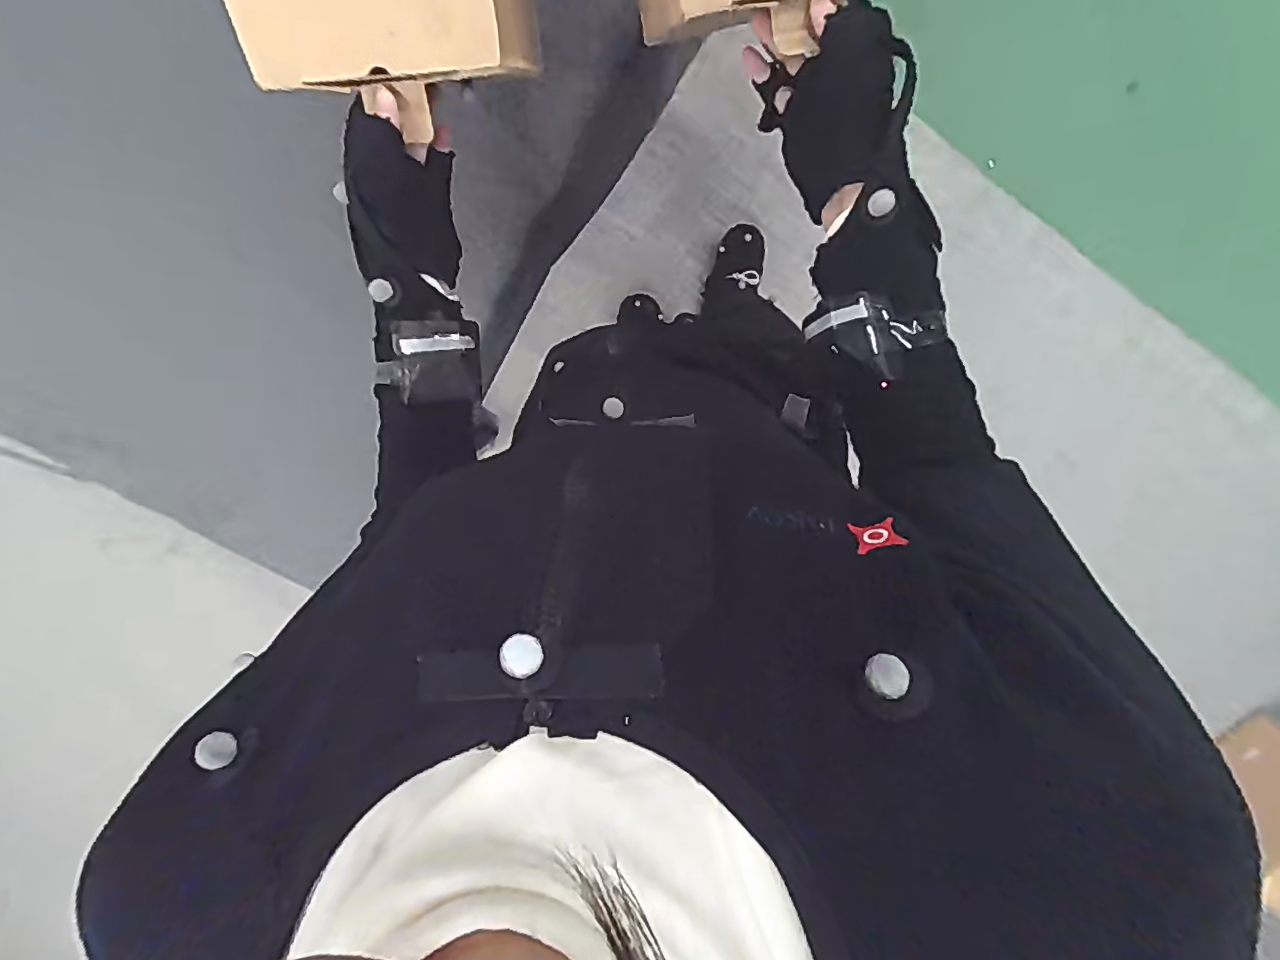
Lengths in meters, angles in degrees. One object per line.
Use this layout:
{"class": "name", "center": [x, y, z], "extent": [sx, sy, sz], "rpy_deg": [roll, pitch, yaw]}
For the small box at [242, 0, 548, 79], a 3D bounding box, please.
{"class": "small box", "center": [-0.163, -0.383, 0.364], "extent": [0.168, 0.176, 0.179], "rpy_deg": [-3, 125, 2]}
